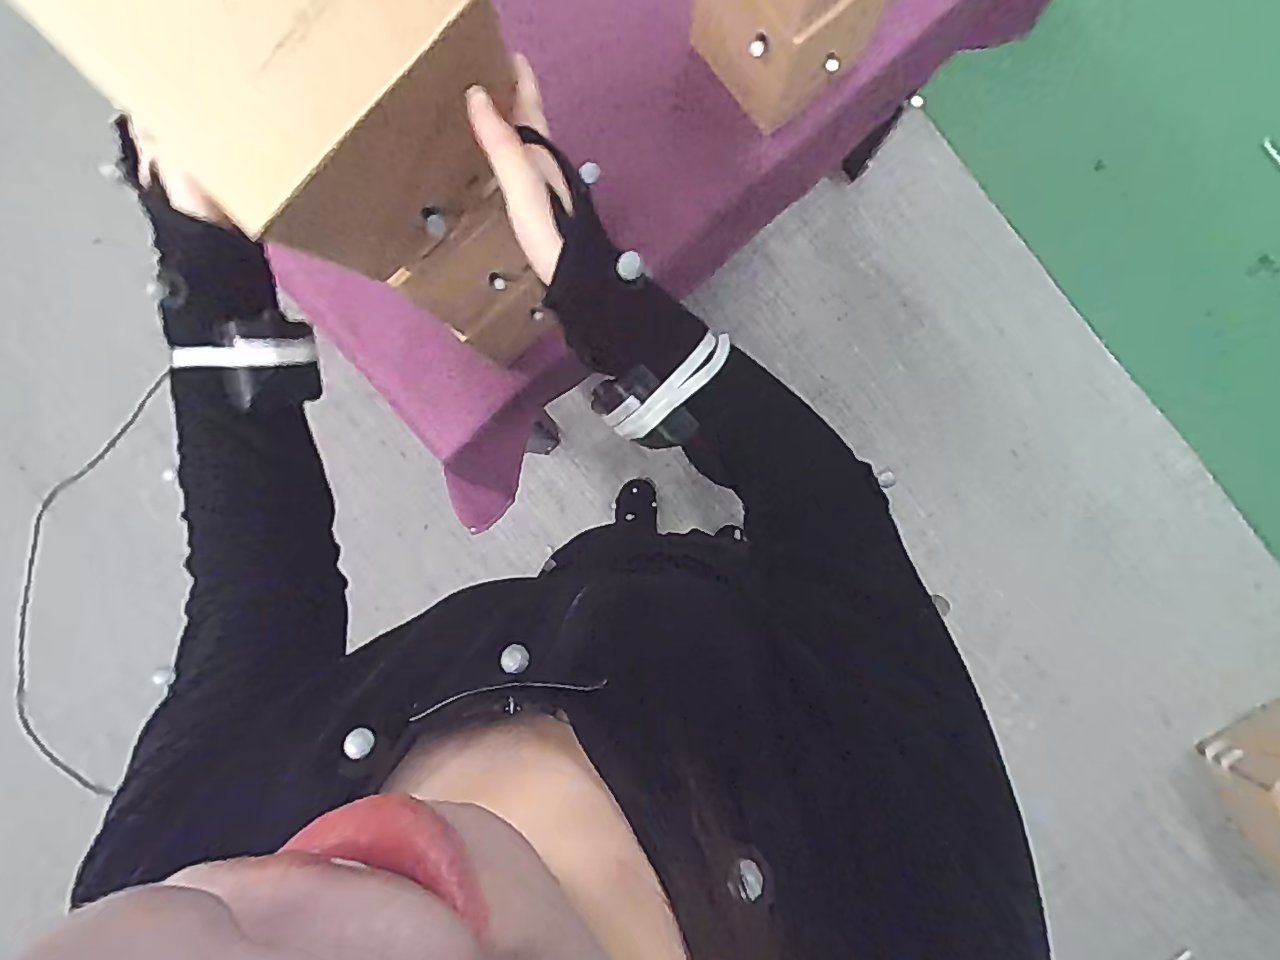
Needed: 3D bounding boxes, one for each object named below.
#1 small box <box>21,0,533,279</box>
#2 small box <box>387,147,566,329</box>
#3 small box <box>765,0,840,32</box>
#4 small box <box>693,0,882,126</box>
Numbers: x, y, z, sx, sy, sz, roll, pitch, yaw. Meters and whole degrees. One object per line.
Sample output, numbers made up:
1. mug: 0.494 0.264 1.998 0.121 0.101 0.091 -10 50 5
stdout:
1. small box: -0.186 -0.245 0.319 0.168 0.176 0.179 -42 103 6
2. small box: -0.196 -0.278 0.531 0.168 0.176 0.179 -41 91 2
3. small box: 0.184 -0.598 0.516 0.179 0.176 0.168 -37 91 0
4. small box: 0.184 -0.593 0.681 0.168 0.176 0.179 -38 90 1
